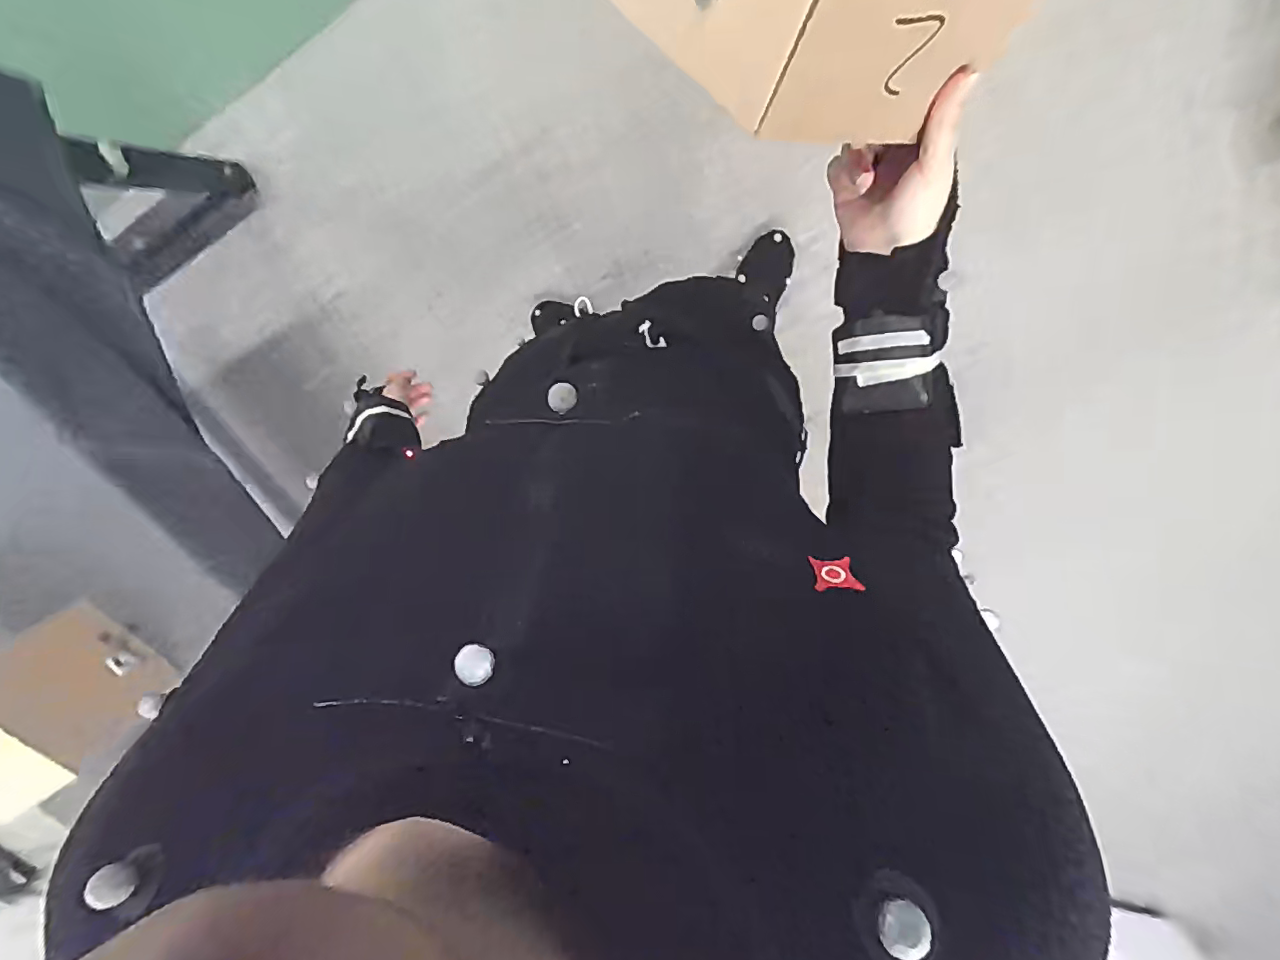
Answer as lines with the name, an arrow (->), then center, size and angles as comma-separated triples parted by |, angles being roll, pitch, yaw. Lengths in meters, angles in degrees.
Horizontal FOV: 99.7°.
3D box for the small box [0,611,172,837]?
small box -> -0.769, 0.305, 0.692 | 0.179, 0.176, 0.168 | -34, 110, 16
